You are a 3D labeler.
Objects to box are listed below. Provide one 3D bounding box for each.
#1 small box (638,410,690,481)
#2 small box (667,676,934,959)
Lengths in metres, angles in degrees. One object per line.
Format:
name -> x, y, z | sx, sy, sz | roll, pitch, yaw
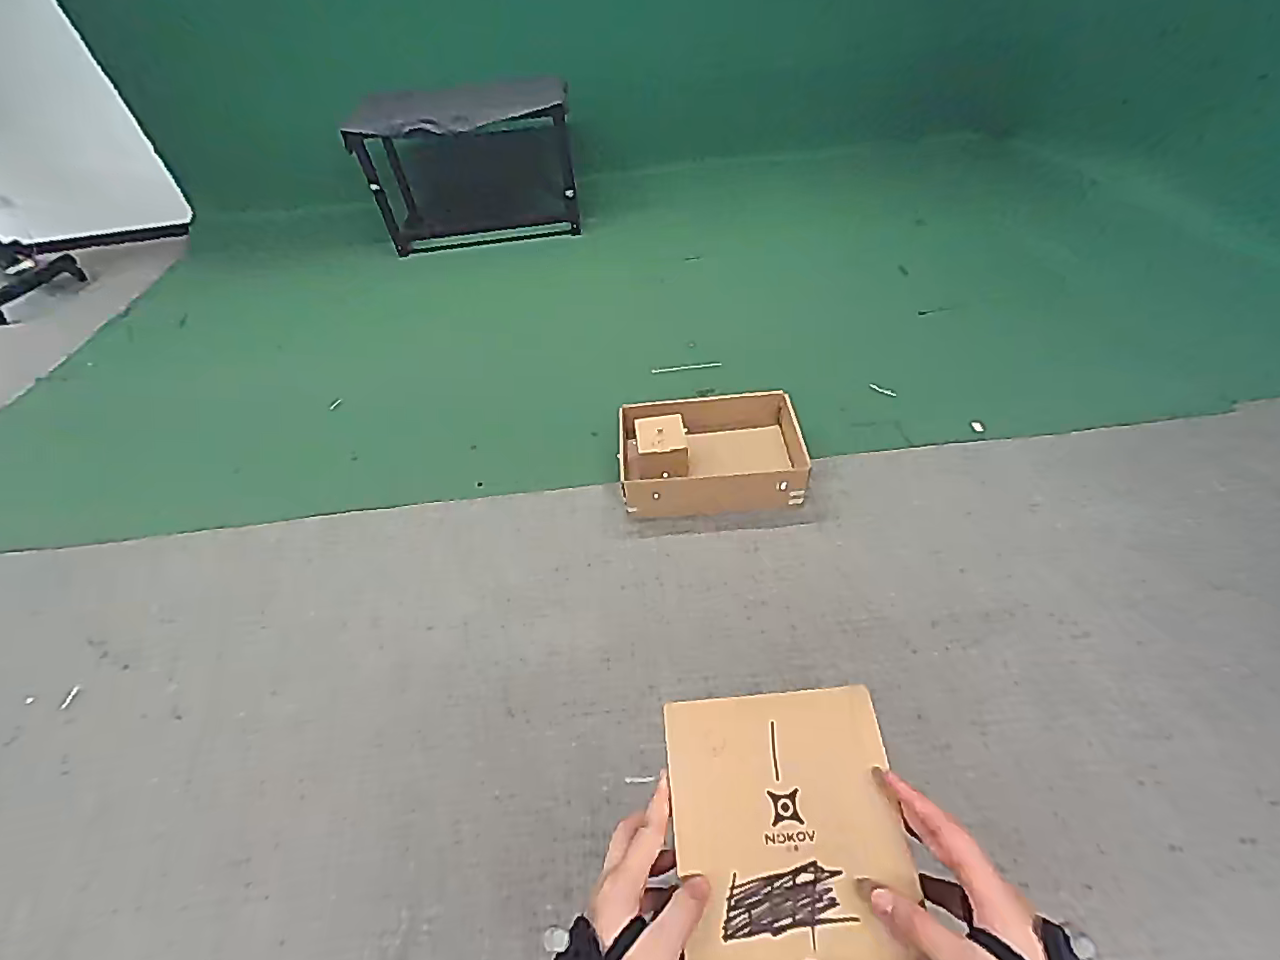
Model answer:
small box -> 0.084, -0.118, 1.893 | 0.168, 0.176, 0.179 | -7, 48, 0
small box -> 0.115, 0.275, 0.465 | 0.168, 0.176, 0.179 | -6, 62, 2
